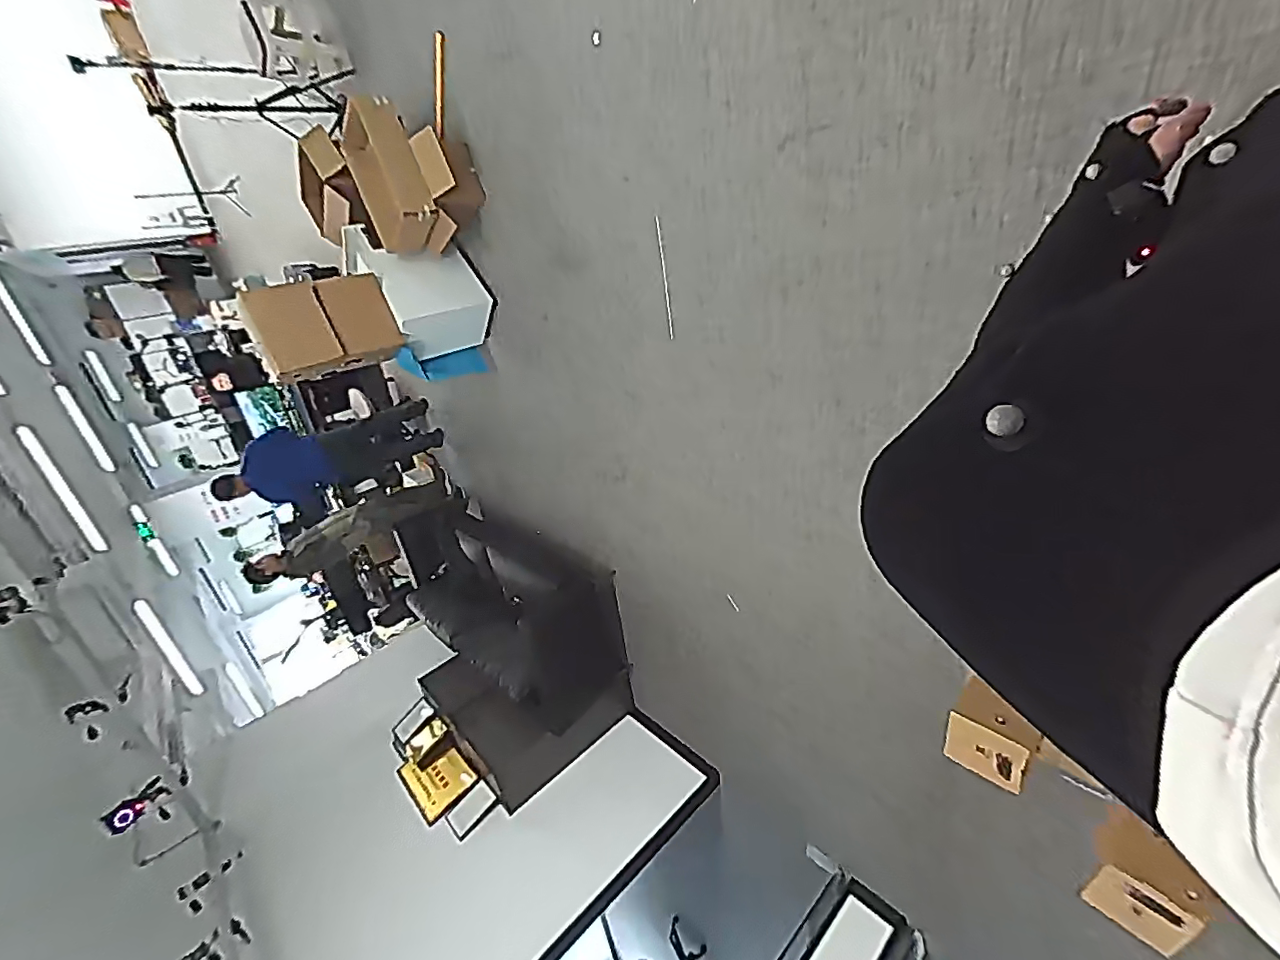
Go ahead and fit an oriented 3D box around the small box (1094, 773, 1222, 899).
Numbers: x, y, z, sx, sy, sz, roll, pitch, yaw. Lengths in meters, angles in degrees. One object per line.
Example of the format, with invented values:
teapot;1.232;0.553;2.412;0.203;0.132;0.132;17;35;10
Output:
small box;1.290;0.872;1.348;0.179;0.176;0.168;27;132;39

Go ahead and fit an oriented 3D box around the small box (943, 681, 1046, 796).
small box;0.919;0.659;1.400;0.179;0.176;0.168;19;125;44

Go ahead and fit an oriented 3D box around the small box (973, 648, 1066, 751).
small box;1.038;0.593;1.494;0.179;0.176;0.168;18;124;43
